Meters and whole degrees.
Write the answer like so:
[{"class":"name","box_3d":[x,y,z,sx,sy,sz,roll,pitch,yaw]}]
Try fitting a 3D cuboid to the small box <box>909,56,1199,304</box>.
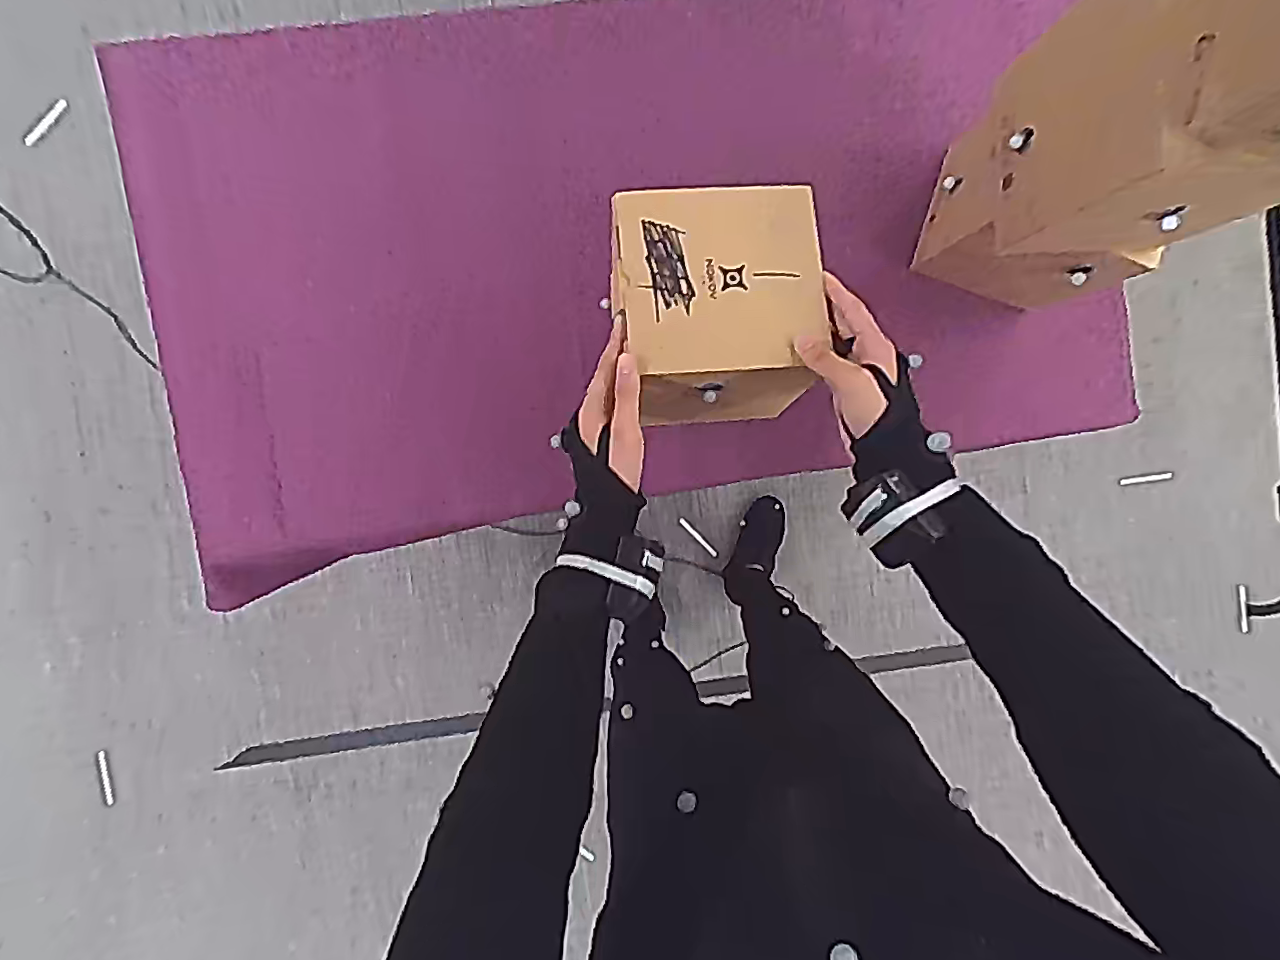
[{"class":"small box","box_3d":[0.452,-0.317,0.617,0.179,0.176,0.168,17,92,-4]}]
